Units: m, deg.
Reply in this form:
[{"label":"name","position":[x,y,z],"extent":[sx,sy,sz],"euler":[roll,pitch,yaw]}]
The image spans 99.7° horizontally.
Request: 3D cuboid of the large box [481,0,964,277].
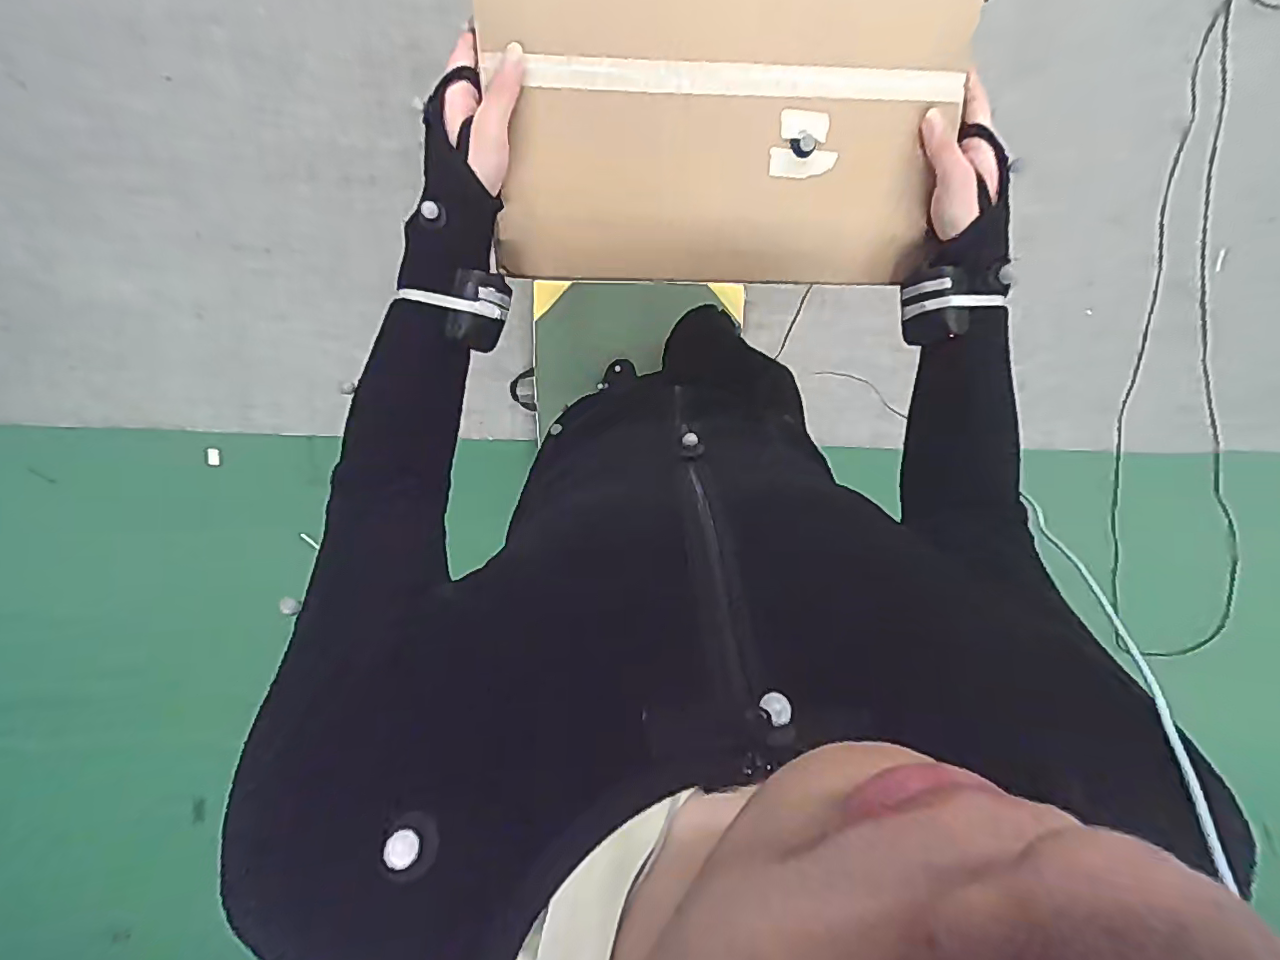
[{"label":"large box","position":[0.057,-0.398,0.595],"extent":[0.408,0.320,0.320],"euler":[-1,114,-5]}]
